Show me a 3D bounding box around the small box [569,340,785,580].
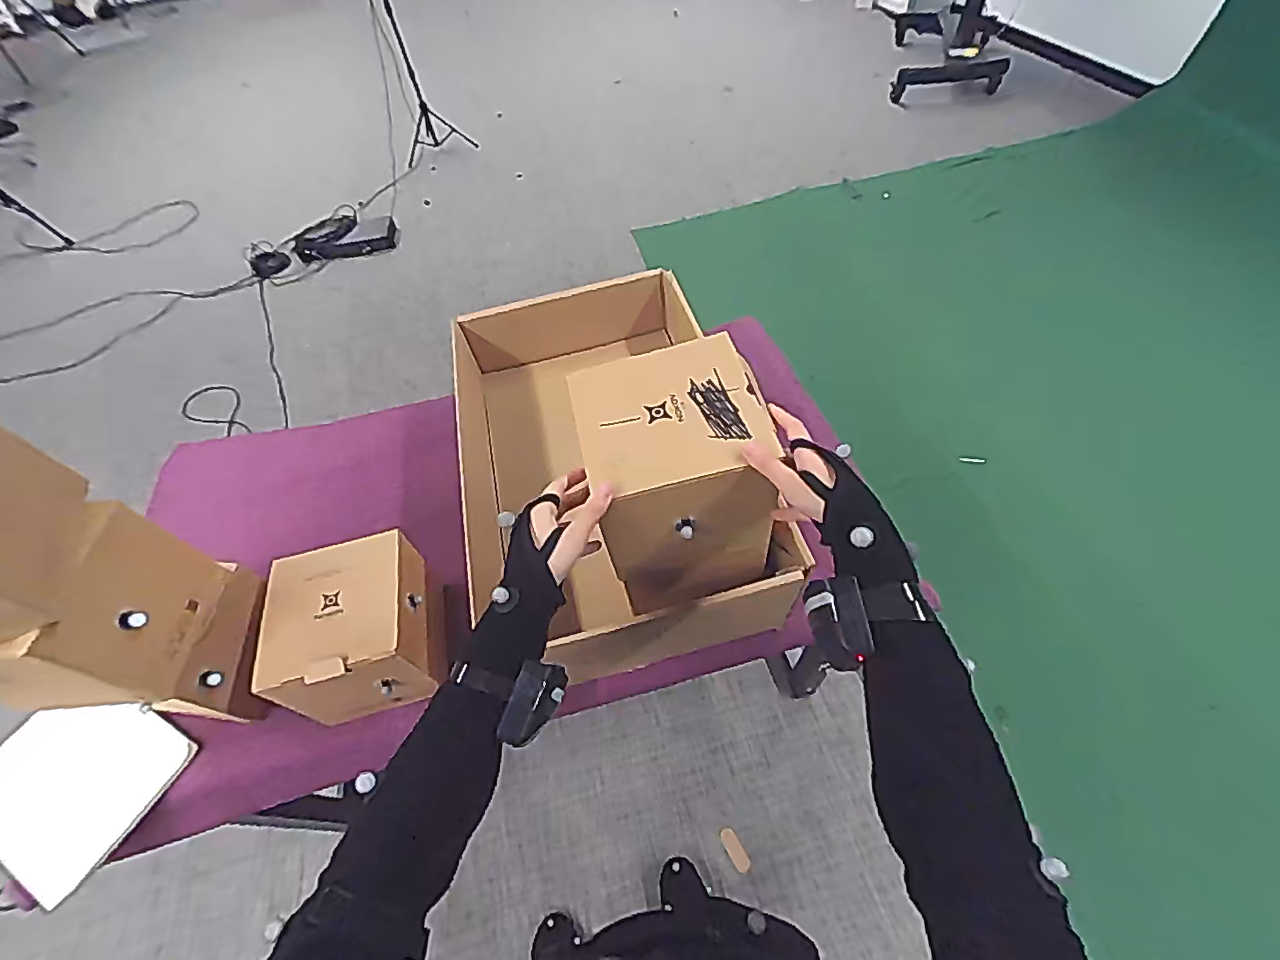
[{"bbox_3d":[0.035,-0.015,0.577,0.179,0.176,0.168,-14,55,-2],"label":"small box"}]

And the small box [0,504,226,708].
[{"bbox_3d":[-0.616,0.143,0.593,0.179,0.176,0.168,-5,54,3],"label":"small box"}]
